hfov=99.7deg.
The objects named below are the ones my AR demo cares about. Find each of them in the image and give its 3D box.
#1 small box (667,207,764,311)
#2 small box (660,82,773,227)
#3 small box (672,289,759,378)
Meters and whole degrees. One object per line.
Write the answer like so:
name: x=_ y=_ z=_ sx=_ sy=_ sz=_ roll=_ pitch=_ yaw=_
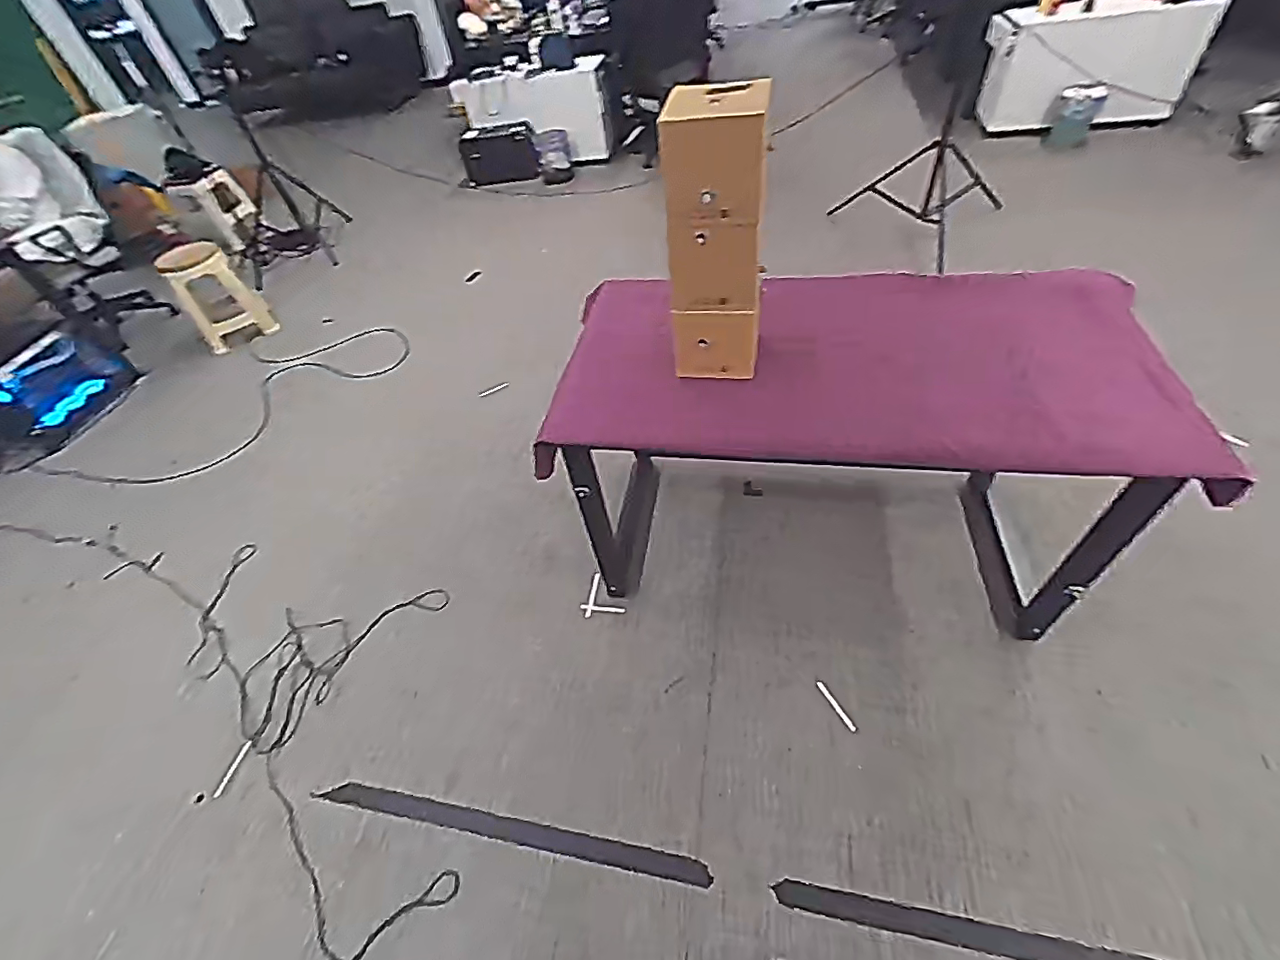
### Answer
small box: x=0.152 y=-0.450 z=1.056 sx=0.168 sy=0.176 sz=0.179 roll=4 pitch=49 yaw=13
small box: x=0.135 y=-0.557 z=0.931 sx=0.168 sy=0.176 sz=0.179 roll=4 pitch=50 yaw=13
small box: x=0.170 y=-0.338 z=1.174 sx=0.168 sy=0.176 sz=0.179 roll=4 pitch=49 yaw=13
